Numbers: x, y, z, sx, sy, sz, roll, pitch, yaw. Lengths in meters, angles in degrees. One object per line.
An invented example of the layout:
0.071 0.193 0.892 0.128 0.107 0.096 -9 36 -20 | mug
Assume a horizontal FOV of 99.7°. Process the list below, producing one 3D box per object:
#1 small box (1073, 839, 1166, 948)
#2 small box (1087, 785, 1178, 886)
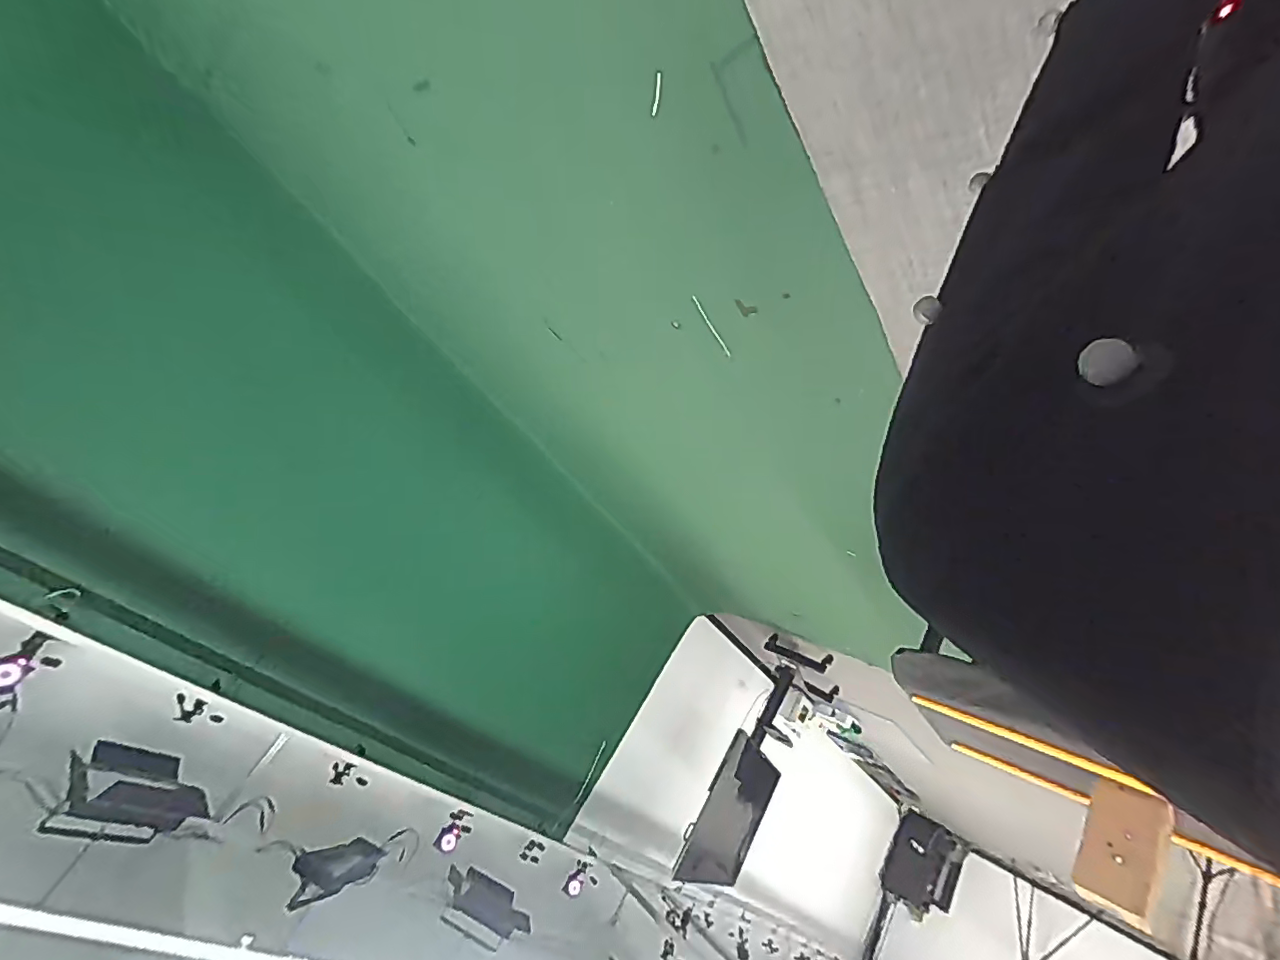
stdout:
1.378 1.180 1.550 0.168 0.176 0.179 7 145 52 | small box
1.465 1.051 1.606 0.168 0.176 0.179 4 144 53 | small box
